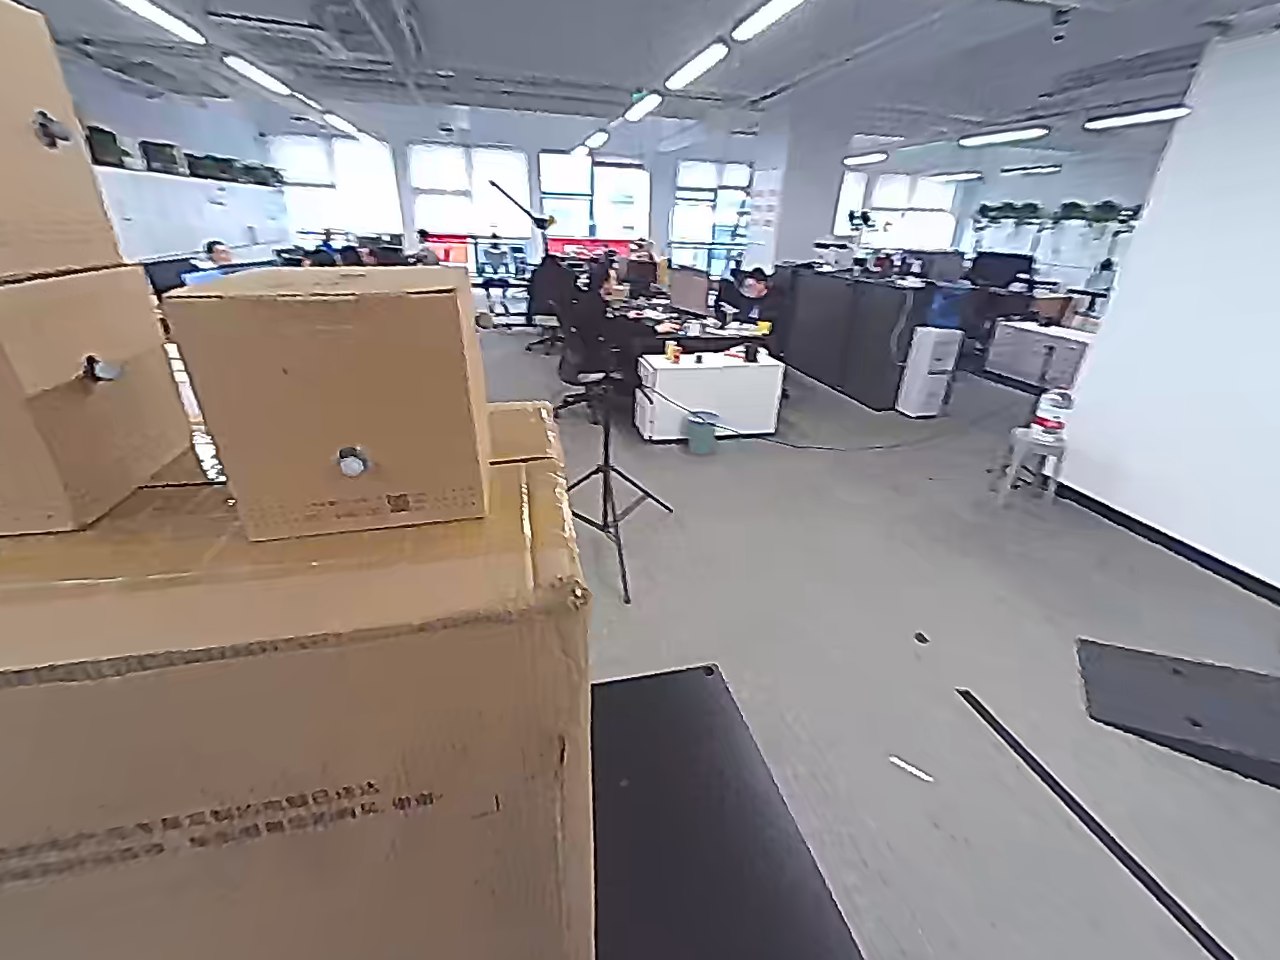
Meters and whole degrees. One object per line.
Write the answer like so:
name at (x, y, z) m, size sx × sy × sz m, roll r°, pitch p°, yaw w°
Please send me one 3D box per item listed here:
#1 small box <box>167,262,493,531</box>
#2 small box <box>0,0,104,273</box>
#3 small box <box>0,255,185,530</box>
small box at (-0.213, -0.077, 0.432) m, size 0.168 × 0.176 × 0.179 m, roll -6°, pitch 27°, yaw -12°
small box at (-0.476, -0.212, 0.317) m, size 0.168 × 0.176 × 0.179 m, roll -5°, pitch 27°, yaw -15°
small box at (-0.485, -0.070, 0.399) m, size 0.168 × 0.176 × 0.179 m, roll -3°, pitch 26°, yaw -15°
